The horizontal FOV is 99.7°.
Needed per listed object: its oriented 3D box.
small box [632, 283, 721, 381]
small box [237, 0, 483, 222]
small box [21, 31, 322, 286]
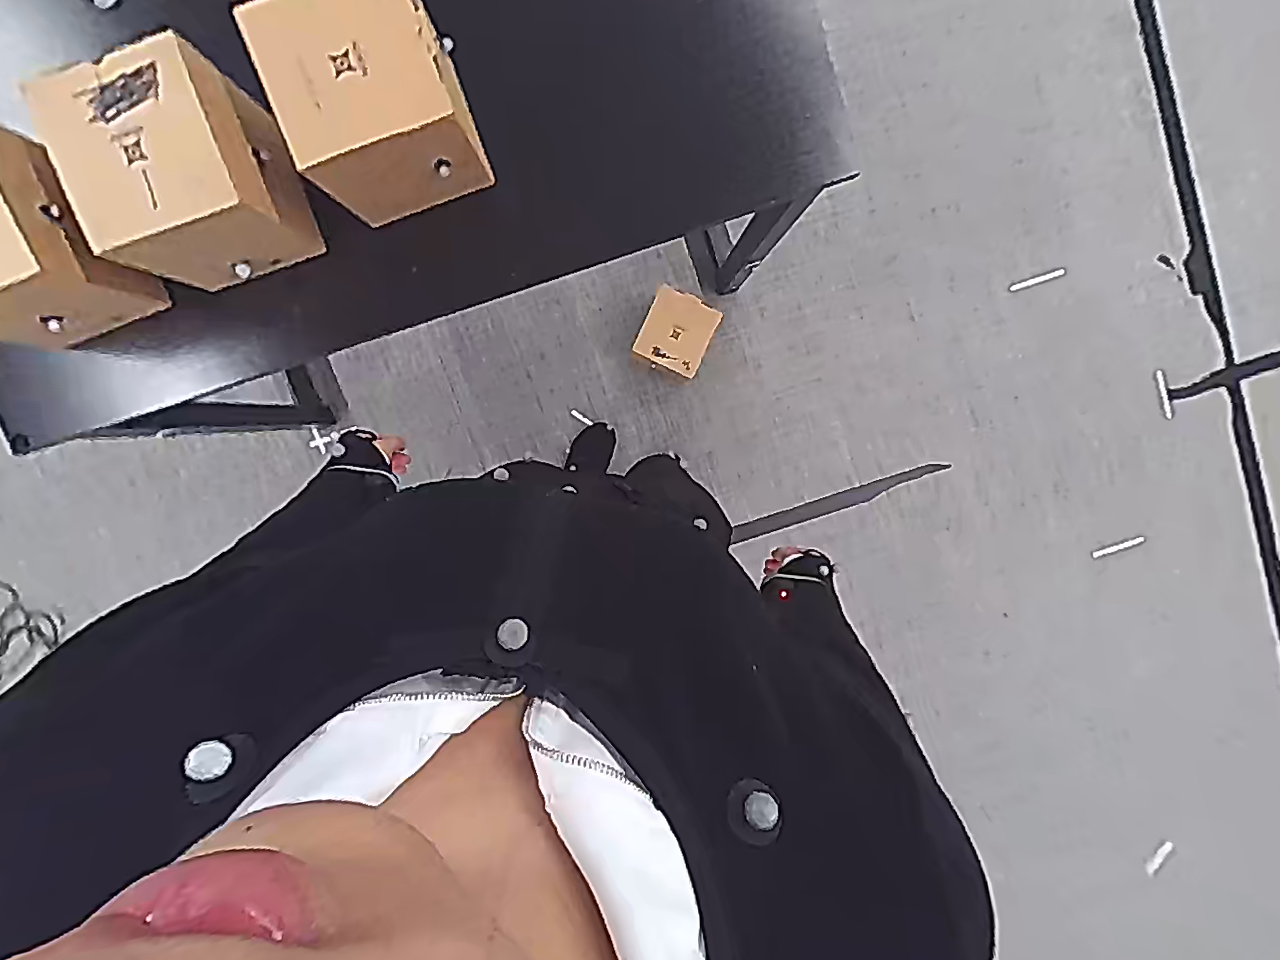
[{"bbox_3d":[0.084,-0.367,1.376,0.168,0.176,0.179,25,95,-4],"label":"small box"},{"bbox_3d":[-0.298,-0.431,0.626,0.179,0.176,0.168,-19,96,1],"label":"small box"},{"bbox_3d":[-0.515,-0.350,0.626,0.168,0.176,0.179,-19,97,0],"label":"small box"}]
